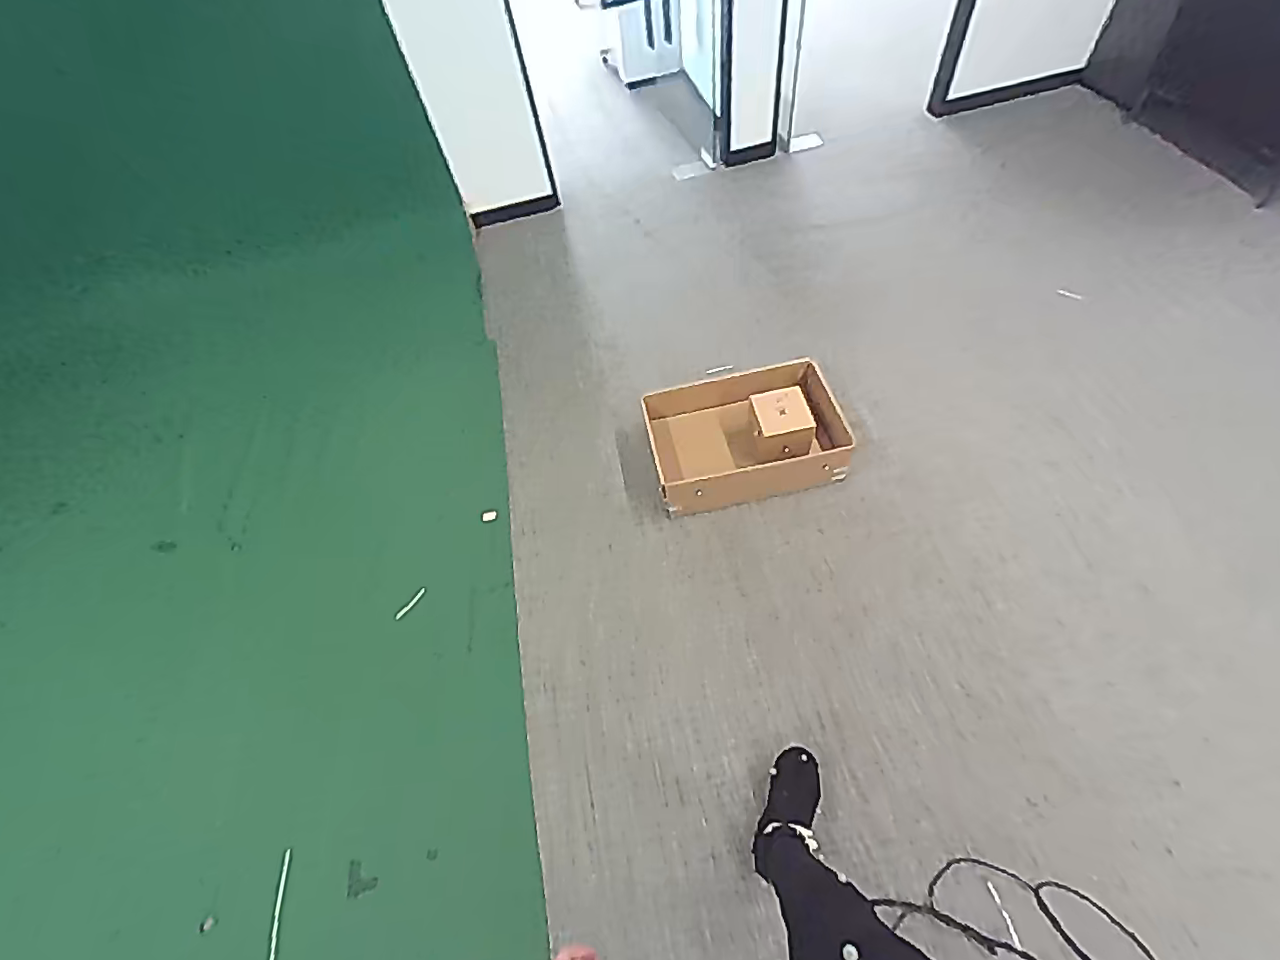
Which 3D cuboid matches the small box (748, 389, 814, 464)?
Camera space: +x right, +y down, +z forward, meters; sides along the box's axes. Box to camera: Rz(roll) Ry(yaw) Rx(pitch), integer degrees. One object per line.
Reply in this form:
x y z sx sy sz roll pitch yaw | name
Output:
0.459 -0.170 1.783 0.168 0.176 0.179 -11 56 1 | small box
